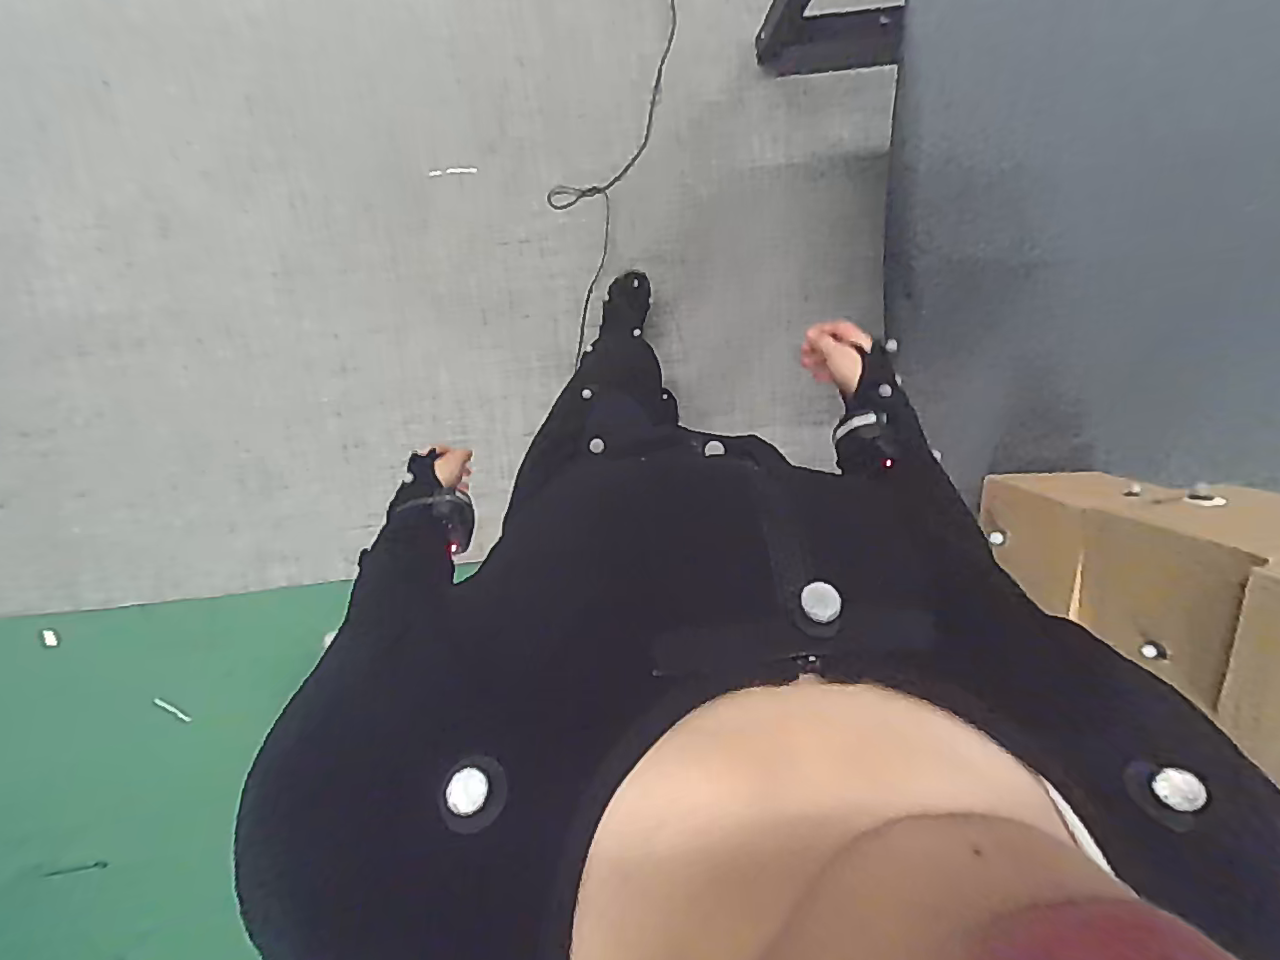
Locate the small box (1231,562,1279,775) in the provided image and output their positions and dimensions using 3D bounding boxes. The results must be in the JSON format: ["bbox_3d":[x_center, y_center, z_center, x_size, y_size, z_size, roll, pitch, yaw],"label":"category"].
[{"bbox_3d":[0.581,0.161,0.372,0.168,0.176,0.179,-4,102,-6],"label":"small box"}]

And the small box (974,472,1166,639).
[{"bbox_3d":[0.574,0.086,0.690,0.179,0.176,0.168,-1,102,-4],"label":"small box"}]

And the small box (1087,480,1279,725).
[{"bbox_3d":[0.587,0.110,0.531,0.168,0.176,0.179,-9,102,-4],"label":"small box"}]
